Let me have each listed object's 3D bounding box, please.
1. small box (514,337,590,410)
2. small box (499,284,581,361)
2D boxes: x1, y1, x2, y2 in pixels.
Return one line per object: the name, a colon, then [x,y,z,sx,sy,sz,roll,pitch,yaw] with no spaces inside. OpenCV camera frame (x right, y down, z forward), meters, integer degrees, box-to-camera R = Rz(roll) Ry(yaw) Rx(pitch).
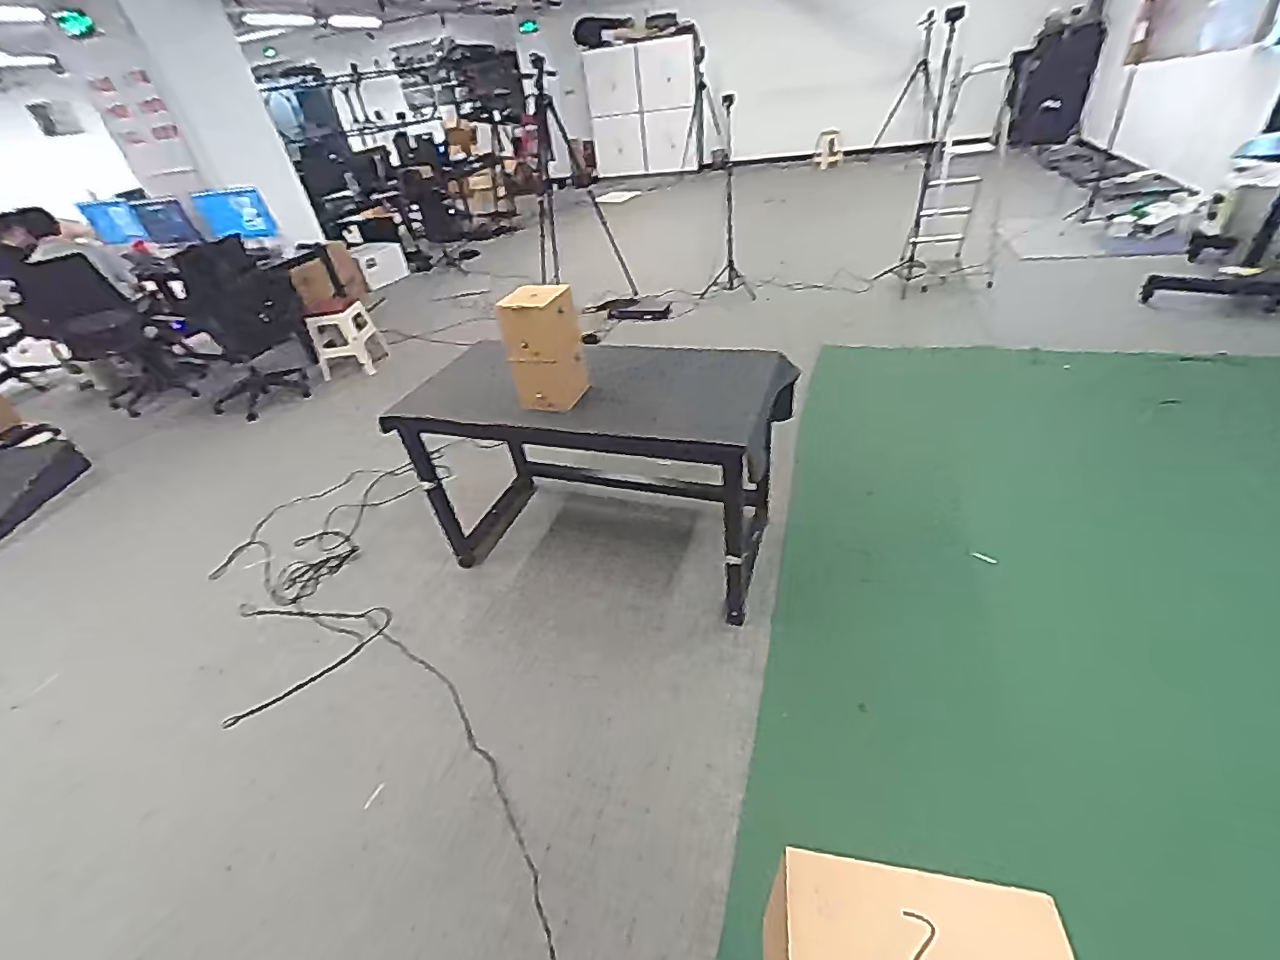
small box: [-0.267,-0.338,1.695,0.168,0.176,0.179,6,39,19]
small box: [-0.286,-0.468,1.599,0.168,0.176,0.179,7,39,19]
